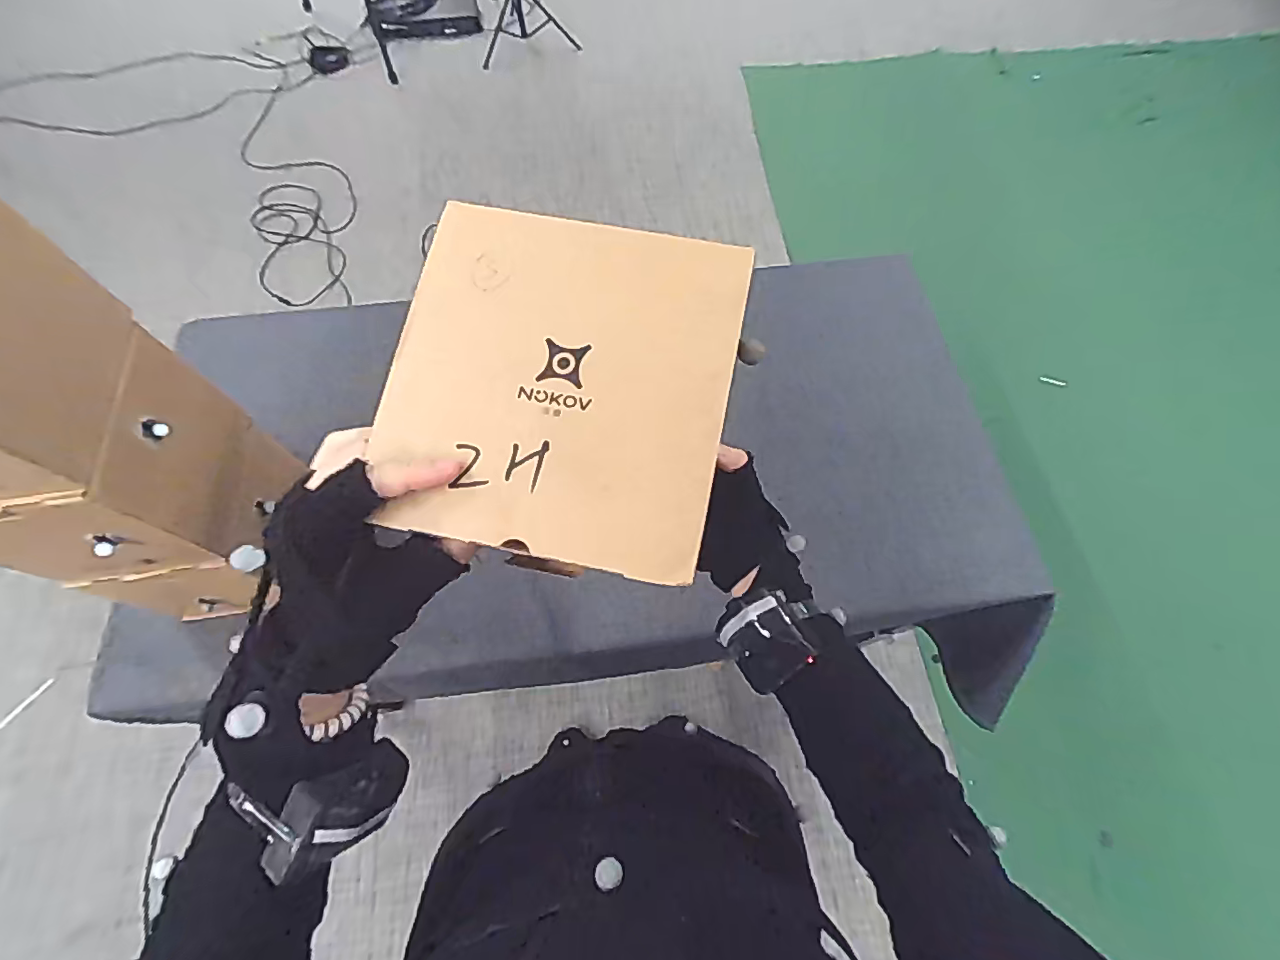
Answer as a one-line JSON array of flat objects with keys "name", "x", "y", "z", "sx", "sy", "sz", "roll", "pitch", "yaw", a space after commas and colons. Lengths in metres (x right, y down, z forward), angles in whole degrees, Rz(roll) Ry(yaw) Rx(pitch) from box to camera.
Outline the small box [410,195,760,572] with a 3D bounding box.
[{"name": "small box", "x": -0.026, "y": -0.059, "z": 0.368, "sx": 0.168, "sy": 0.176, "sz": 0.179, "roll": 12, "pitch": 98, "yaw": 5}]

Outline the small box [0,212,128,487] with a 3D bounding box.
[{"name": "small box", "x": -0.509, "y": -0.097, "z": 0.365, "sx": 0.168, "sy": 0.176, "sz": 0.179, "roll": -8, "pitch": 65, "yaw": -6}]

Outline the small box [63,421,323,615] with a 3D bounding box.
[{"name": "small box", "x": -0.513, "y": 0.052, "z": 0.656, "sx": 0.168, "sy": 0.176, "sz": 0.179, "roll": -8, "pitch": 66, "yaw": -4}]

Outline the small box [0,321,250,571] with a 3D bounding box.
[{"name": "small box", "x": -0.510, "y": -0.020, "z": 0.510, "sx": 0.168, "sy": 0.176, "sz": 0.179, "roll": -7, "pitch": 65, "yaw": -5}]
